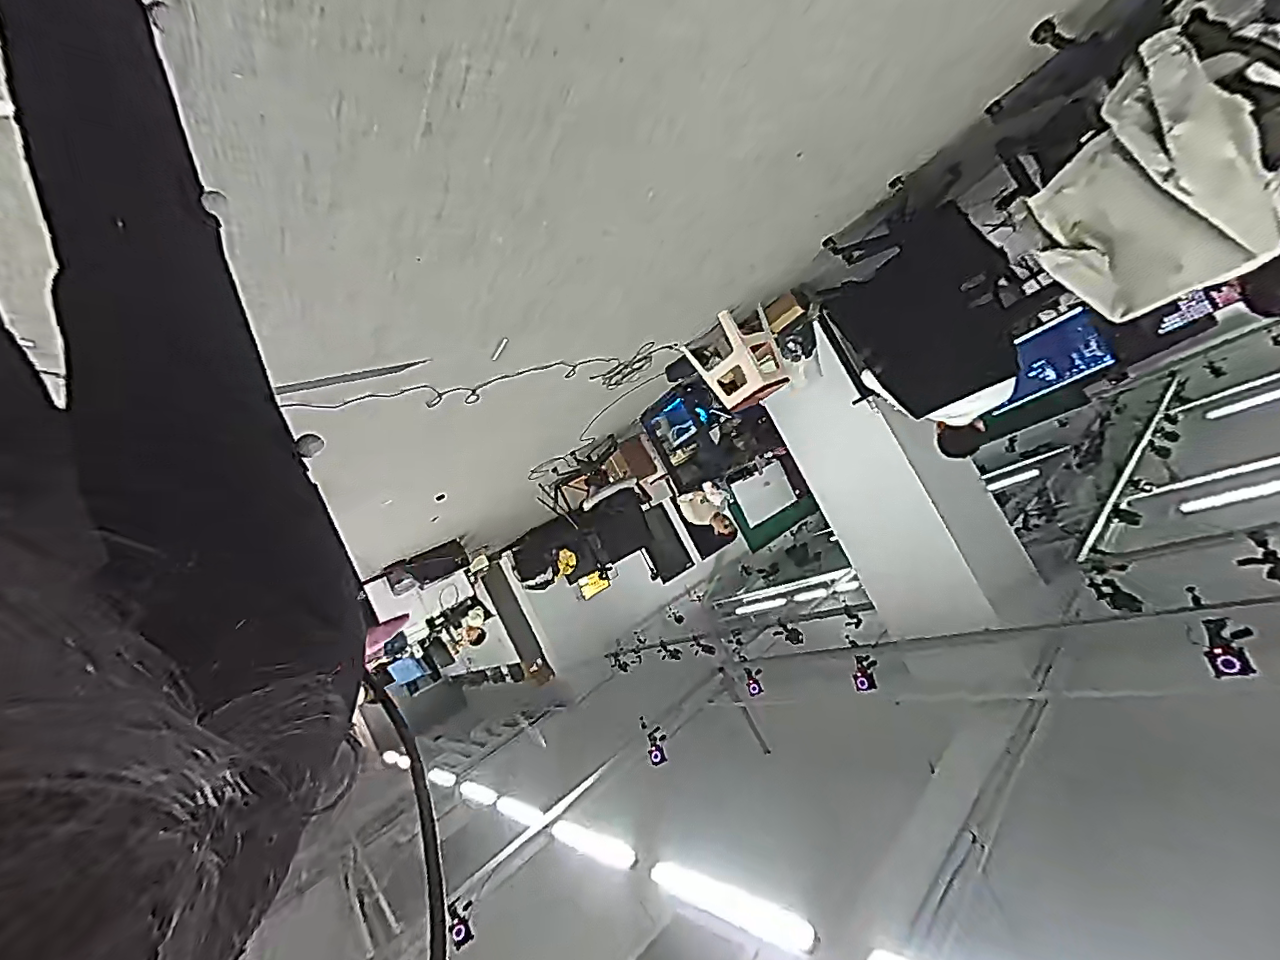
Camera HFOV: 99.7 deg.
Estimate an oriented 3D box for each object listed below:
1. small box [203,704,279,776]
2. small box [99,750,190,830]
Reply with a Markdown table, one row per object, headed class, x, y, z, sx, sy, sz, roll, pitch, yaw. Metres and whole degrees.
| class | x | y | z | sx | sy | sz | roll | pitch | yaw |
| --- | --- | --- | --- | --- | --- | --- | --- | --- | --- |
| small box | -1.489 | 0.961 | 2.015 | 0.179 | 0.176 | 0.168 | -25 | 175 | -27 |
| small box | -1.688 | 1.051 | 1.840 | 0.168 | 0.176 | 0.179 | -30 | 174 | 36 |
